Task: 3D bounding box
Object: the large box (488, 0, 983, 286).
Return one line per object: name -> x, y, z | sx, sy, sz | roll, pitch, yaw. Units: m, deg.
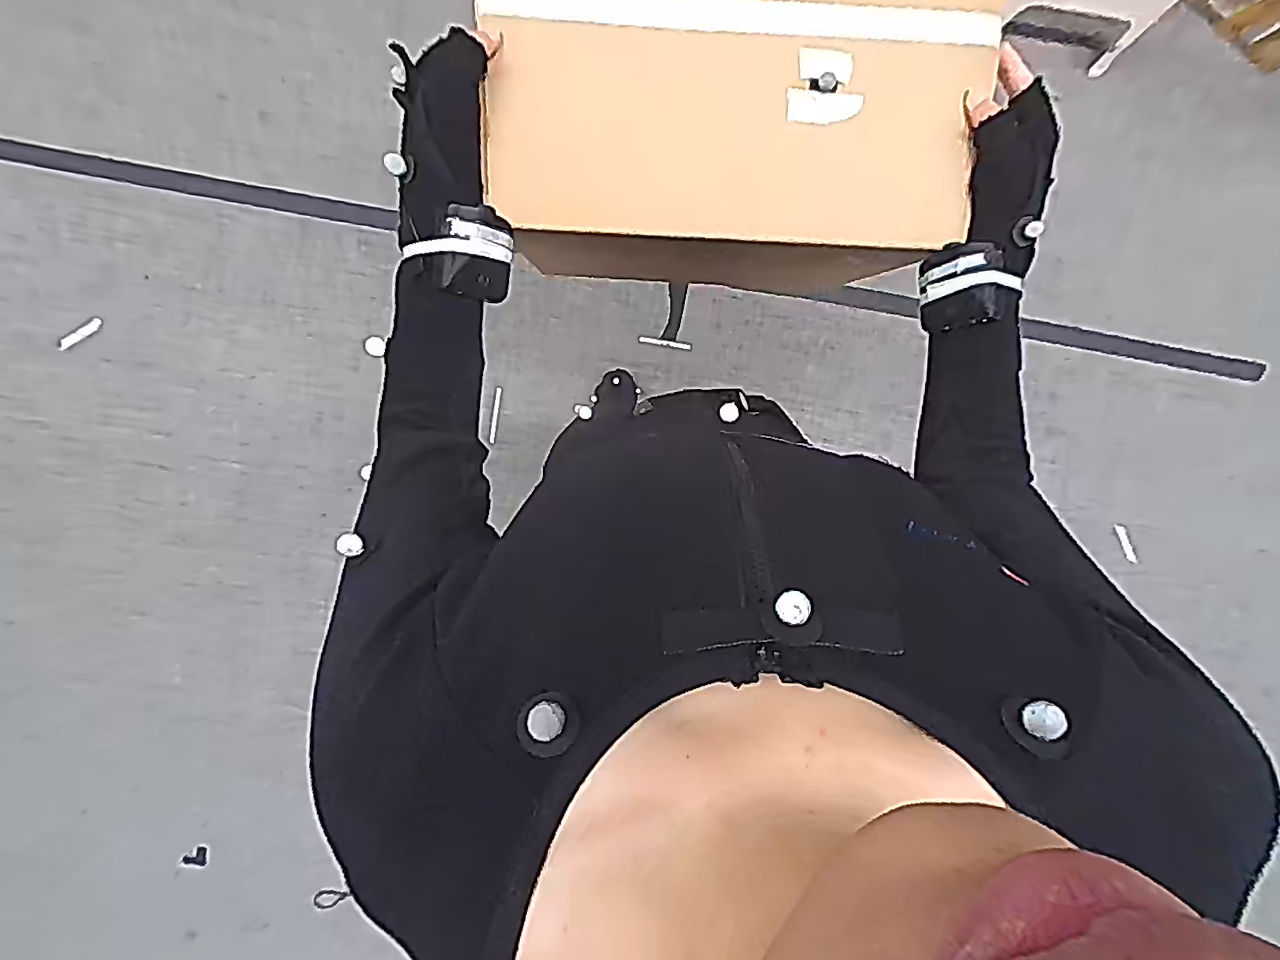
large box -> 0.069, -0.391, 0.580 | 0.408, 0.320, 0.320 | 1, 104, -3
